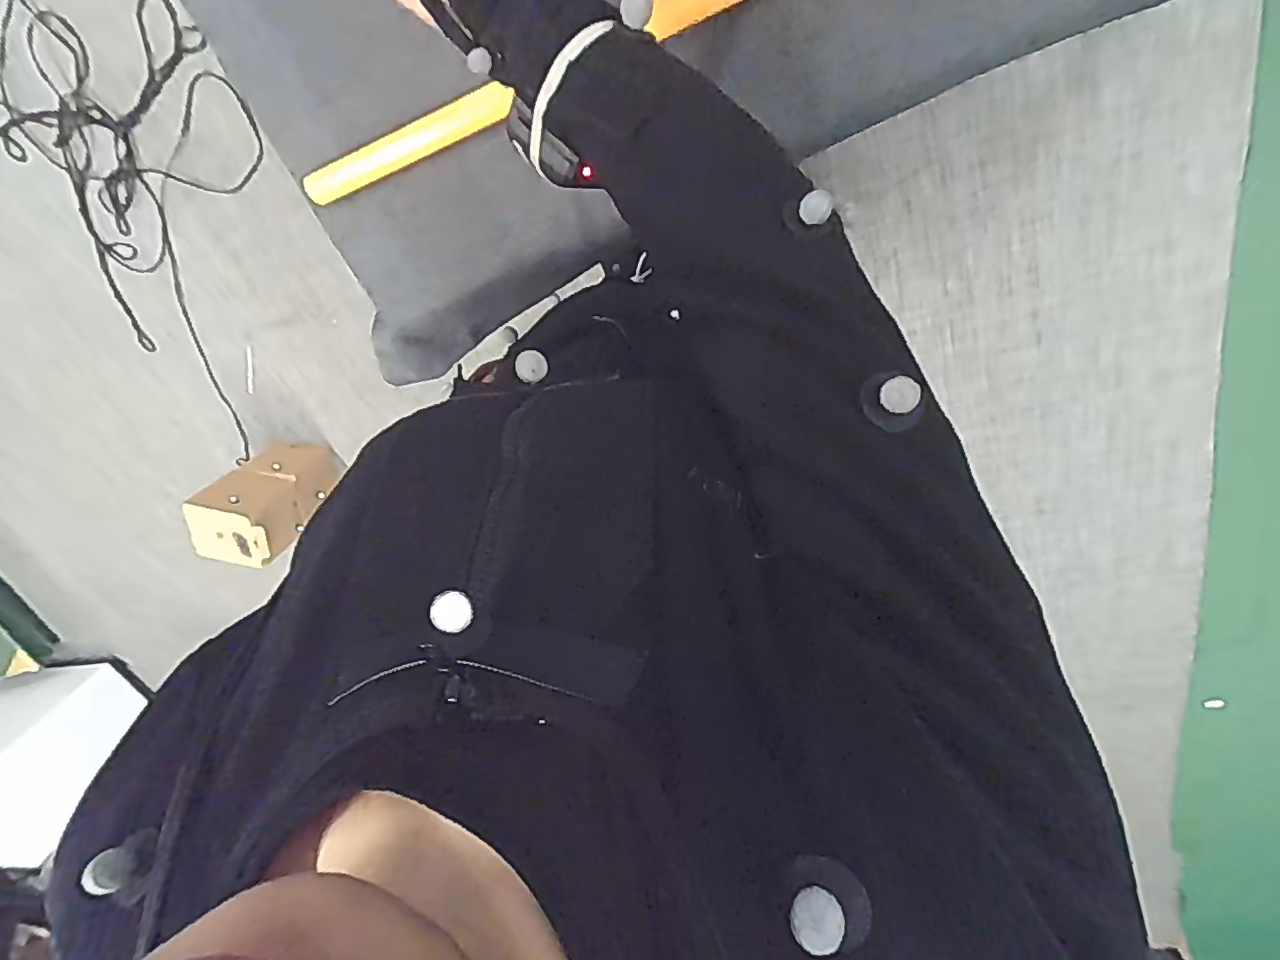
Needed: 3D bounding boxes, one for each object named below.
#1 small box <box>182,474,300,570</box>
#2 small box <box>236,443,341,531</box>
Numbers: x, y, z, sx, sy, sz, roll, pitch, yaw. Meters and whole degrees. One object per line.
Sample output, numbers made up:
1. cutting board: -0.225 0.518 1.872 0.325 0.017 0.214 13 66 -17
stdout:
1. small box: -1.012 0.103 1.394 0.179 0.176 0.168 12 121 1
2. small box: -0.983 0.018 1.533 0.168 0.176 0.179 7 121 3
